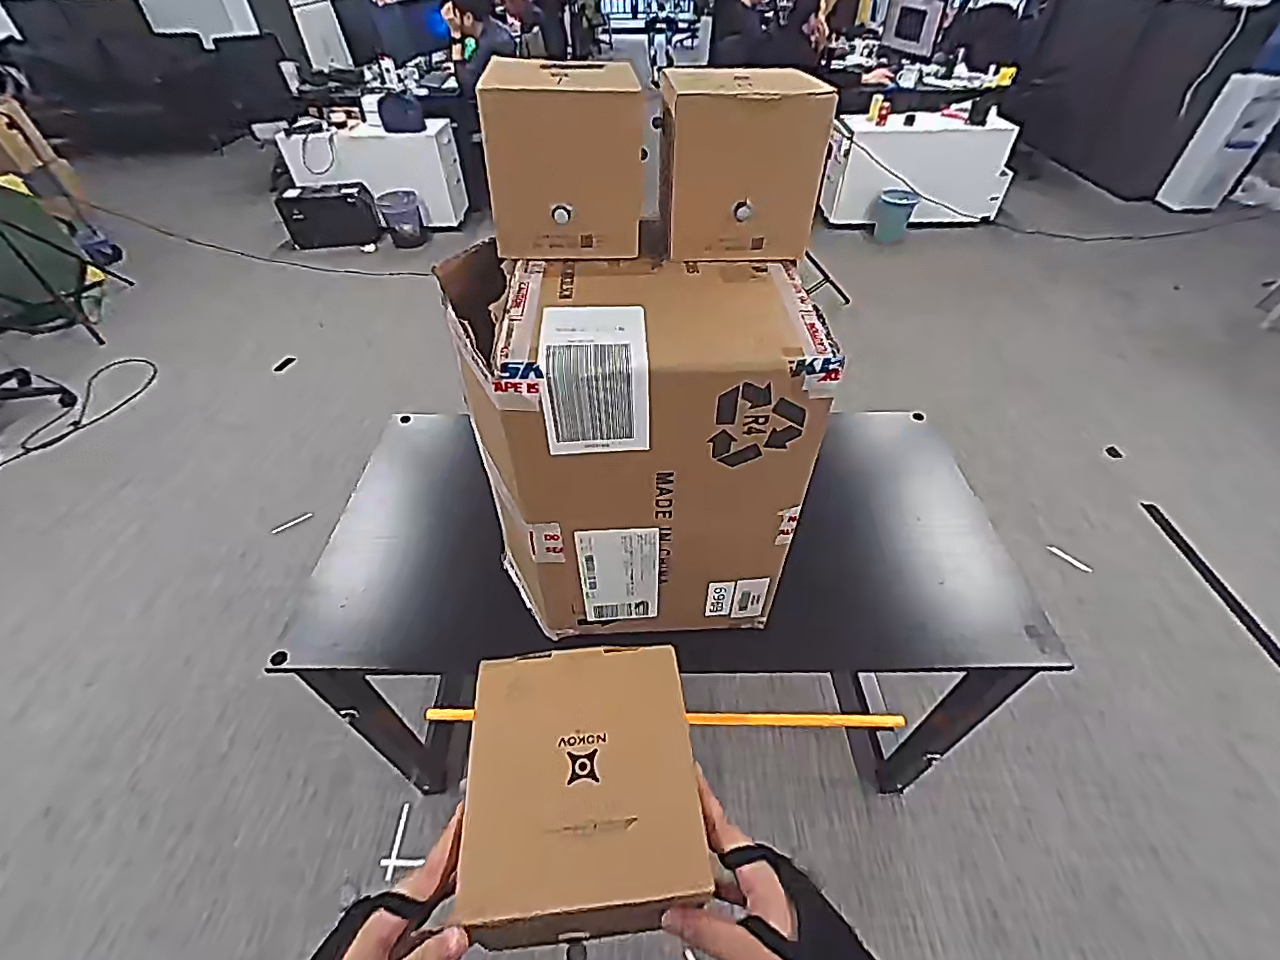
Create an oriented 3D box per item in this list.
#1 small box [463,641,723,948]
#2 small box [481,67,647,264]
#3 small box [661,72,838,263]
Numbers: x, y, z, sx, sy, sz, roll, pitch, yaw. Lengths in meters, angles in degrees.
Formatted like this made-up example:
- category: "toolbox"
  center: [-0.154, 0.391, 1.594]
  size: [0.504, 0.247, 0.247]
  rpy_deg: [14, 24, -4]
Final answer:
- category: "small box"
  center: [-0.041, 0.258, 0.449]
  size: [0.168, 0.176, 0.179]
  rpy_deg: [-3, 46, -7]
- category: "small box"
  center: [-0.085, -0.375, 0.647]
  size: [0.168, 0.176, 0.179]
  rpy_deg: [-2, 44, -5]
- category: "small box"
  center: [0.114, -0.379, 0.655]
  size: [0.168, 0.176, 0.179]
  rpy_deg: [-2, 44, -2]
